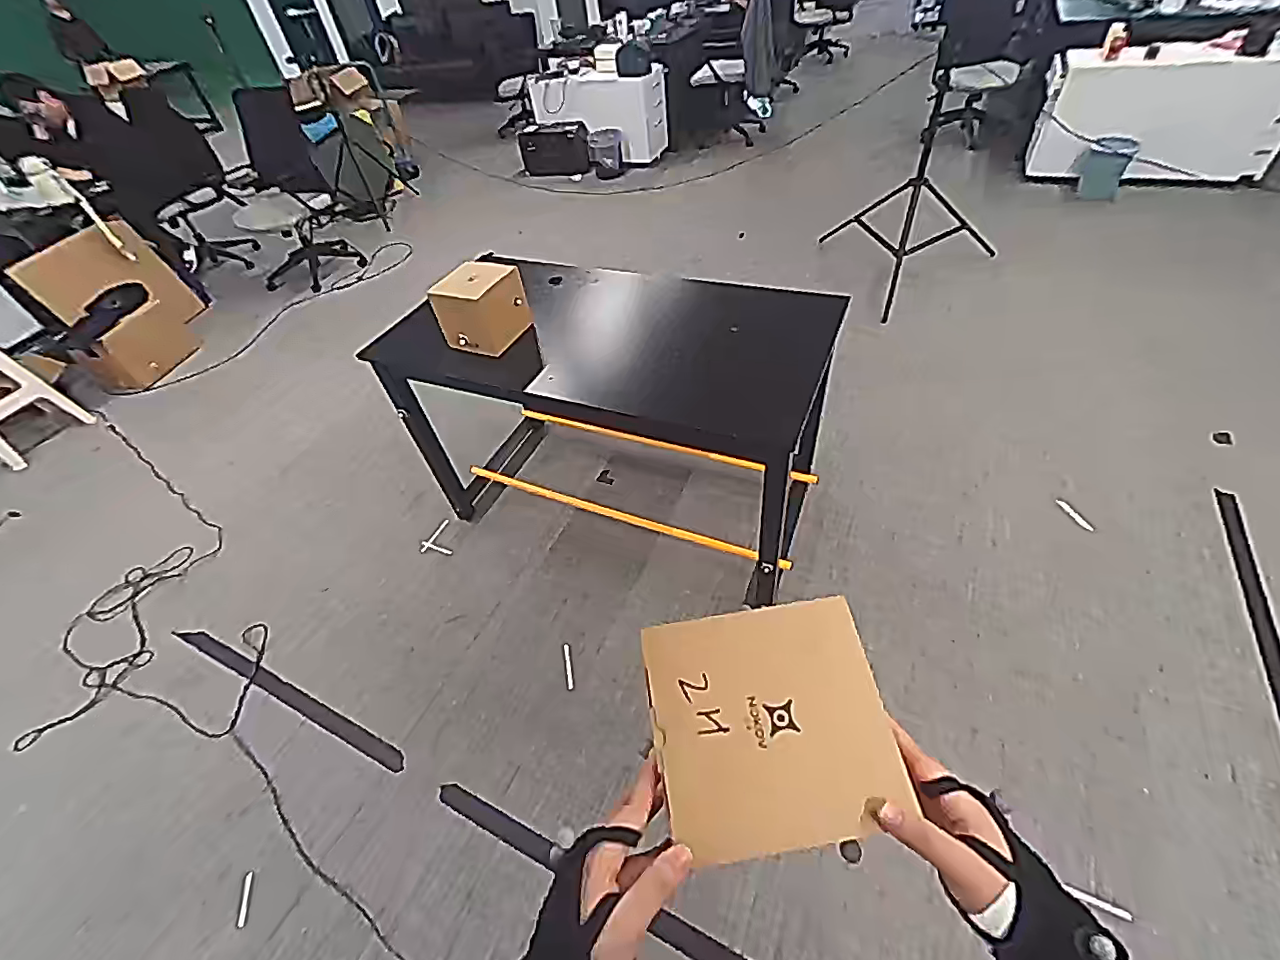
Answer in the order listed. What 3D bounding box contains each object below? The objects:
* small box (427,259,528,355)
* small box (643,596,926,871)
[{"bbox_3d":[-0.415,-0.455,1.420,0.168,0.176,0.179,14,52,22],"label":"small box"},{"bbox_3d":[0.100,0.214,0.468,0.179,0.176,0.168,-9,60,-2],"label":"small box"}]
